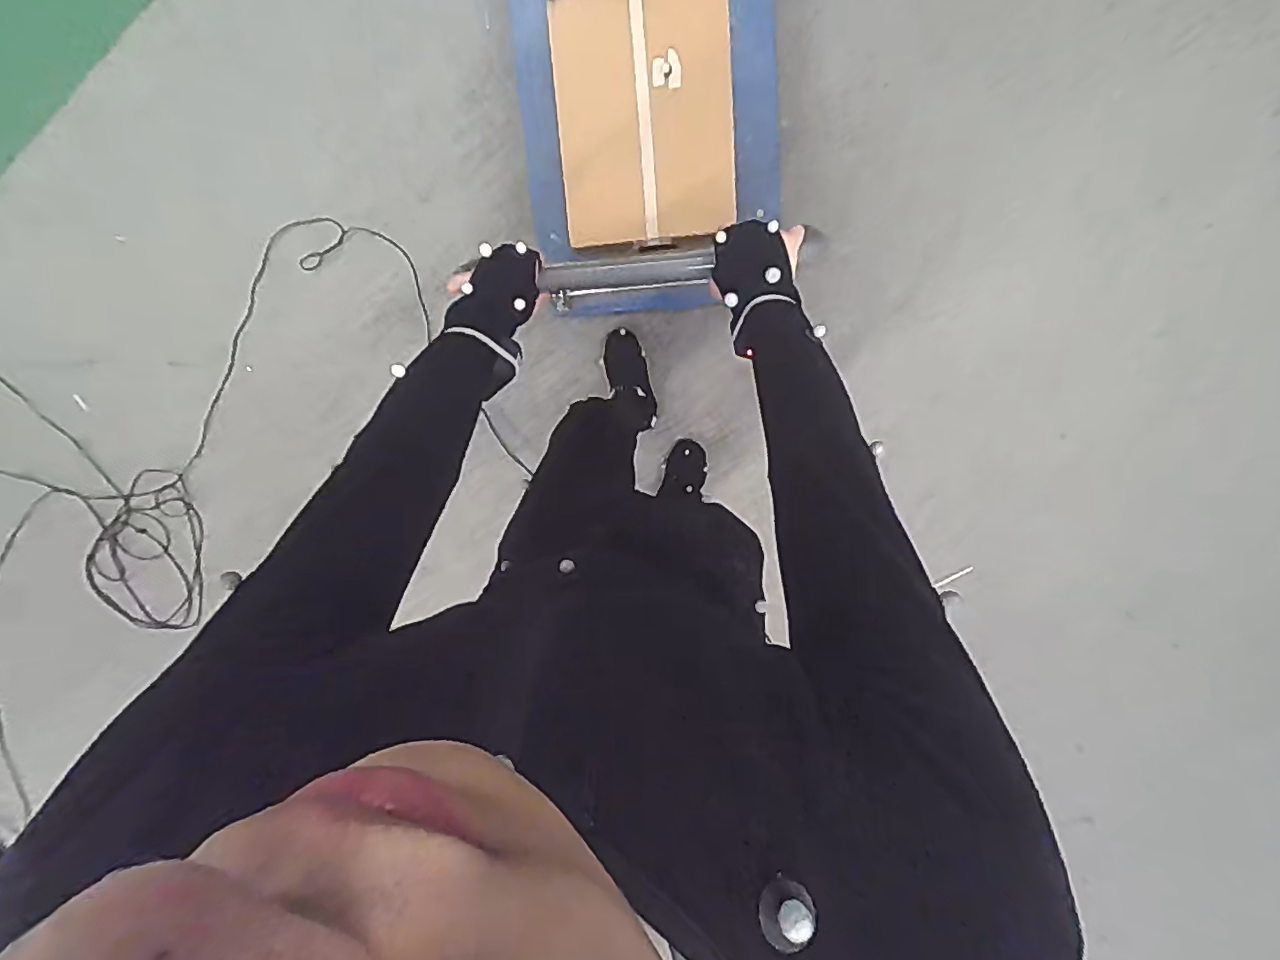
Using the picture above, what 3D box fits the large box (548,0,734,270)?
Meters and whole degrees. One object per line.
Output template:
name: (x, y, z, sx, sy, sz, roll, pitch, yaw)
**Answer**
large box: (0.022, -0.684, 1.121, 0.320, 0.320, 0.408, -3, 103, 6)
